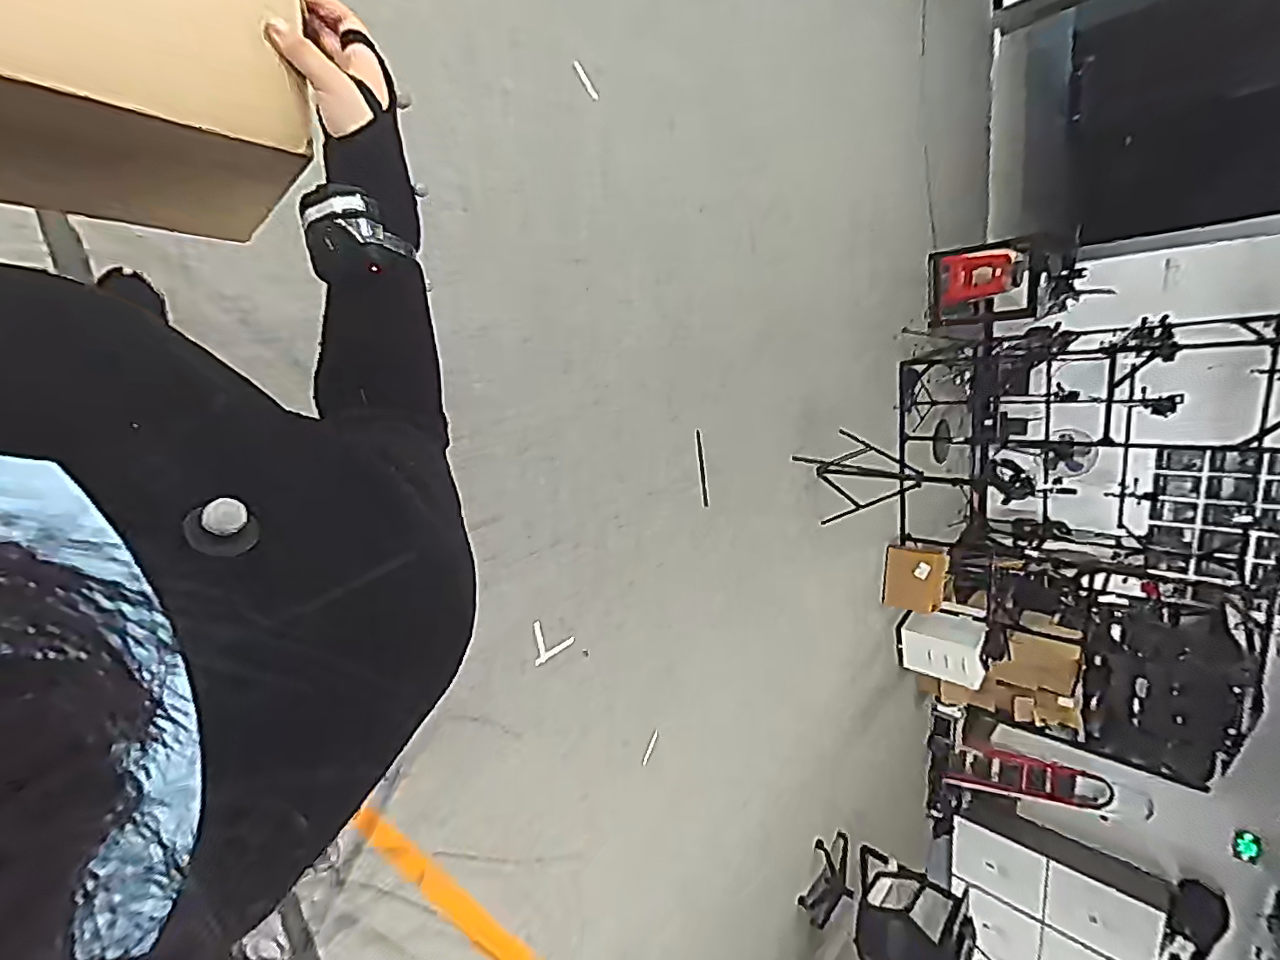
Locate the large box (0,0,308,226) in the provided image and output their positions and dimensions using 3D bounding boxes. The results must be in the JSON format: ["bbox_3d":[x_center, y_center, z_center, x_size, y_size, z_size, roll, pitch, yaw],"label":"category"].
[{"bbox_3d":[-0.517,-0.411,0.389,0.408,0.320,0.320,-9,100,-43],"label":"large box"}]
